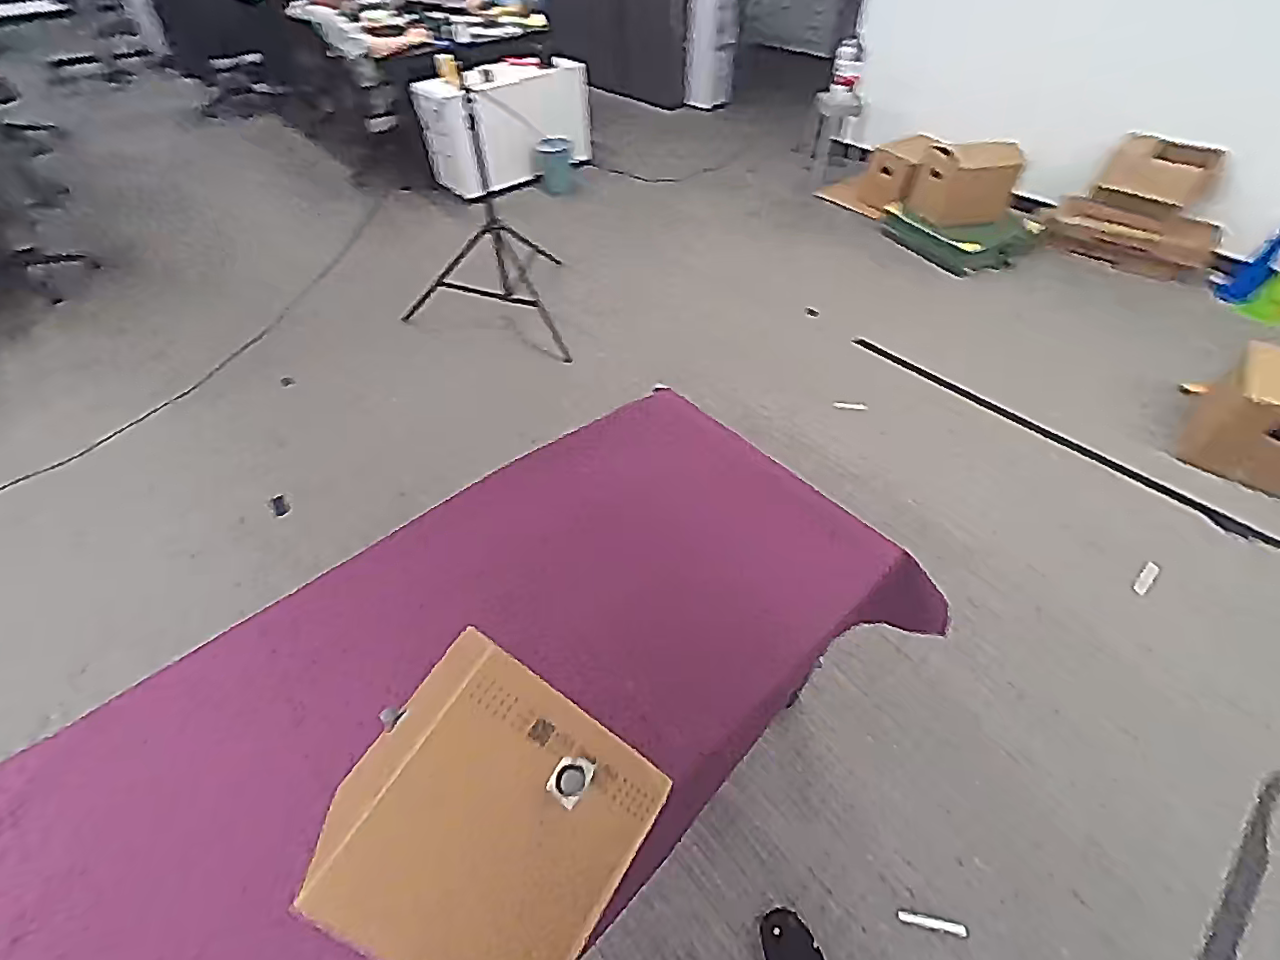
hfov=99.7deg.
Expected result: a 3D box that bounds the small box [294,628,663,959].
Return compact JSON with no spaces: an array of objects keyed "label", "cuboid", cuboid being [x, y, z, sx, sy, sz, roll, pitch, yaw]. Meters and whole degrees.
[{"label":"small box","cuboid":[-0.109,0.230,0.407,0.168,0.179,0.176,40,69,-10]}]
